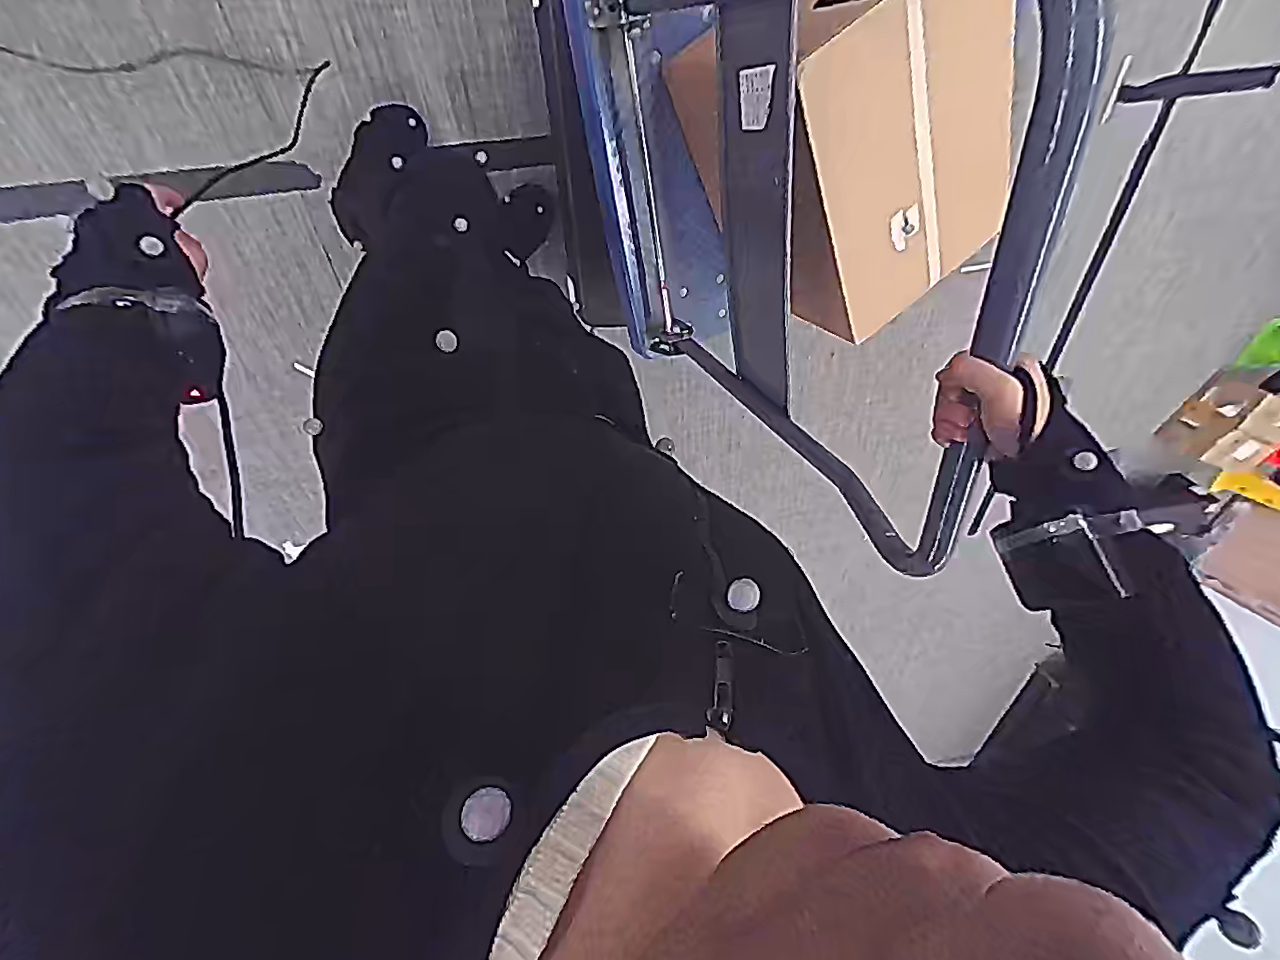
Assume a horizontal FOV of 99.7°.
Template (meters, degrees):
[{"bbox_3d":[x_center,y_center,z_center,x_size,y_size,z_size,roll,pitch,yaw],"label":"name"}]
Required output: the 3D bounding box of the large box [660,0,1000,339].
[{"bbox_3d":[0.294,-0.506,0.826,0.320,0.320,0.408,-38,135,-1],"label":"large box"}]
